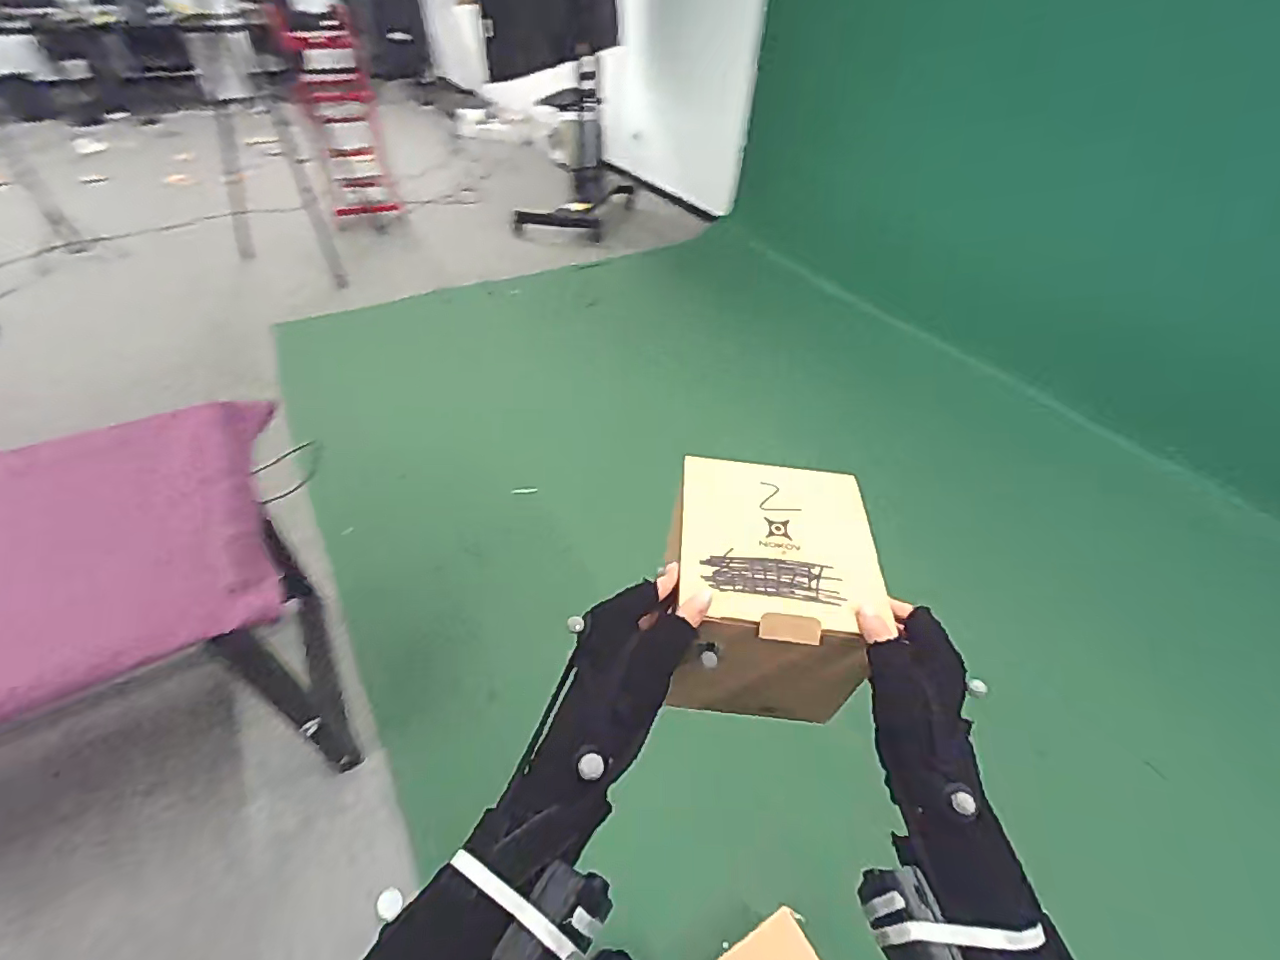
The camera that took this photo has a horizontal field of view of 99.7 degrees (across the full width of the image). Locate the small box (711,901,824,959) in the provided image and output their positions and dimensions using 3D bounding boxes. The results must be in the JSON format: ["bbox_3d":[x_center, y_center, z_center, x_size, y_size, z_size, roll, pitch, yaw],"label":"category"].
[{"bbox_3d":[0.251,0.958,1.038,0.179,0.176,0.168,-21,50,-22],"label":"small box"}]
